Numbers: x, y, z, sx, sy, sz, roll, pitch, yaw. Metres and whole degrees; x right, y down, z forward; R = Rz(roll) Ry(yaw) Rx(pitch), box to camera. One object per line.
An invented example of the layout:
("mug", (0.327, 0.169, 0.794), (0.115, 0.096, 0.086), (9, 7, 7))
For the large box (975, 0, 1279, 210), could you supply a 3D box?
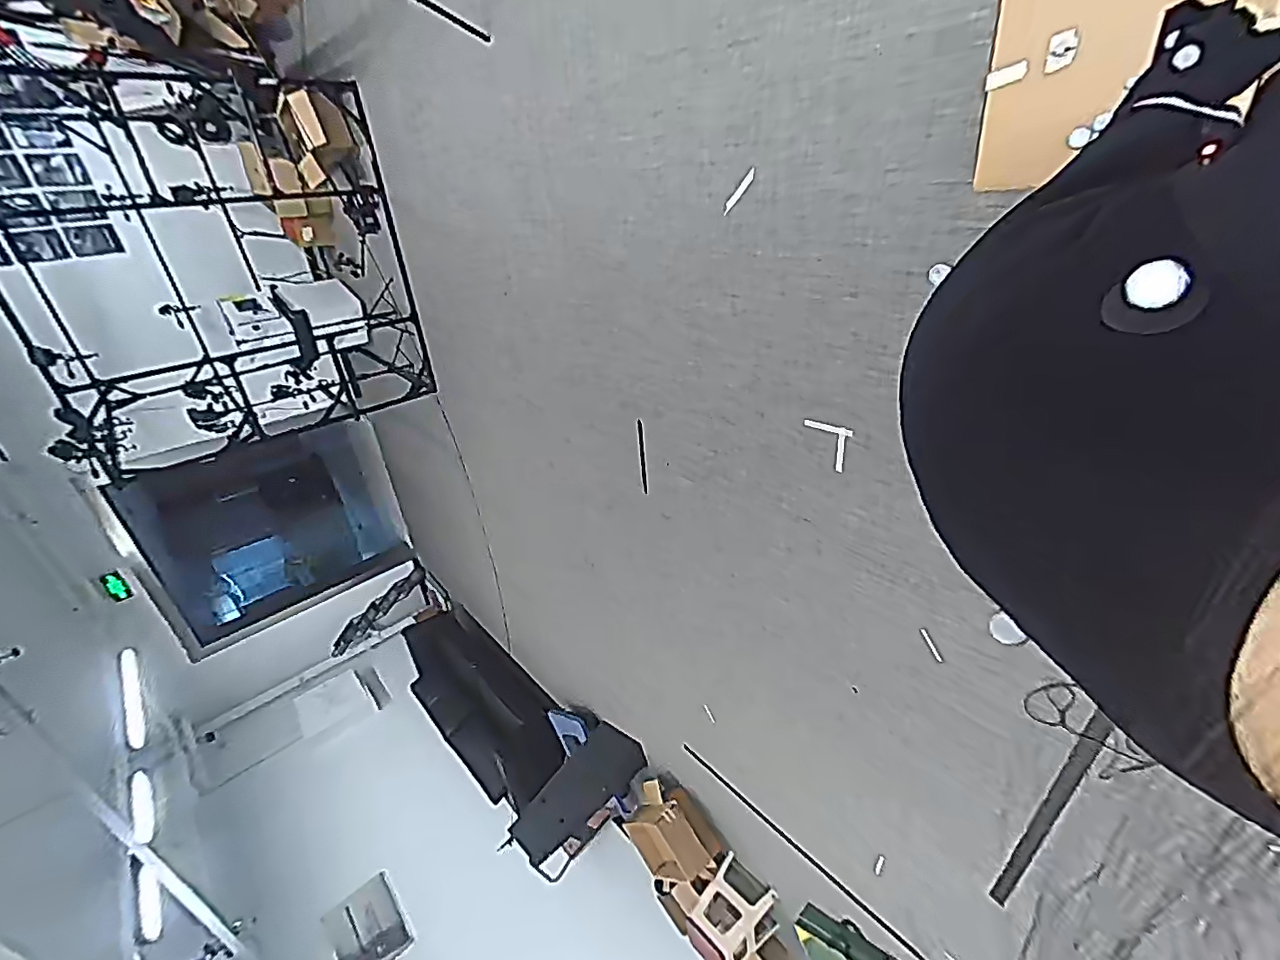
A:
("large box", (0.795, -0.640, 0.870), (0.320, 0.408, 0.320), (22, 130, 42))
